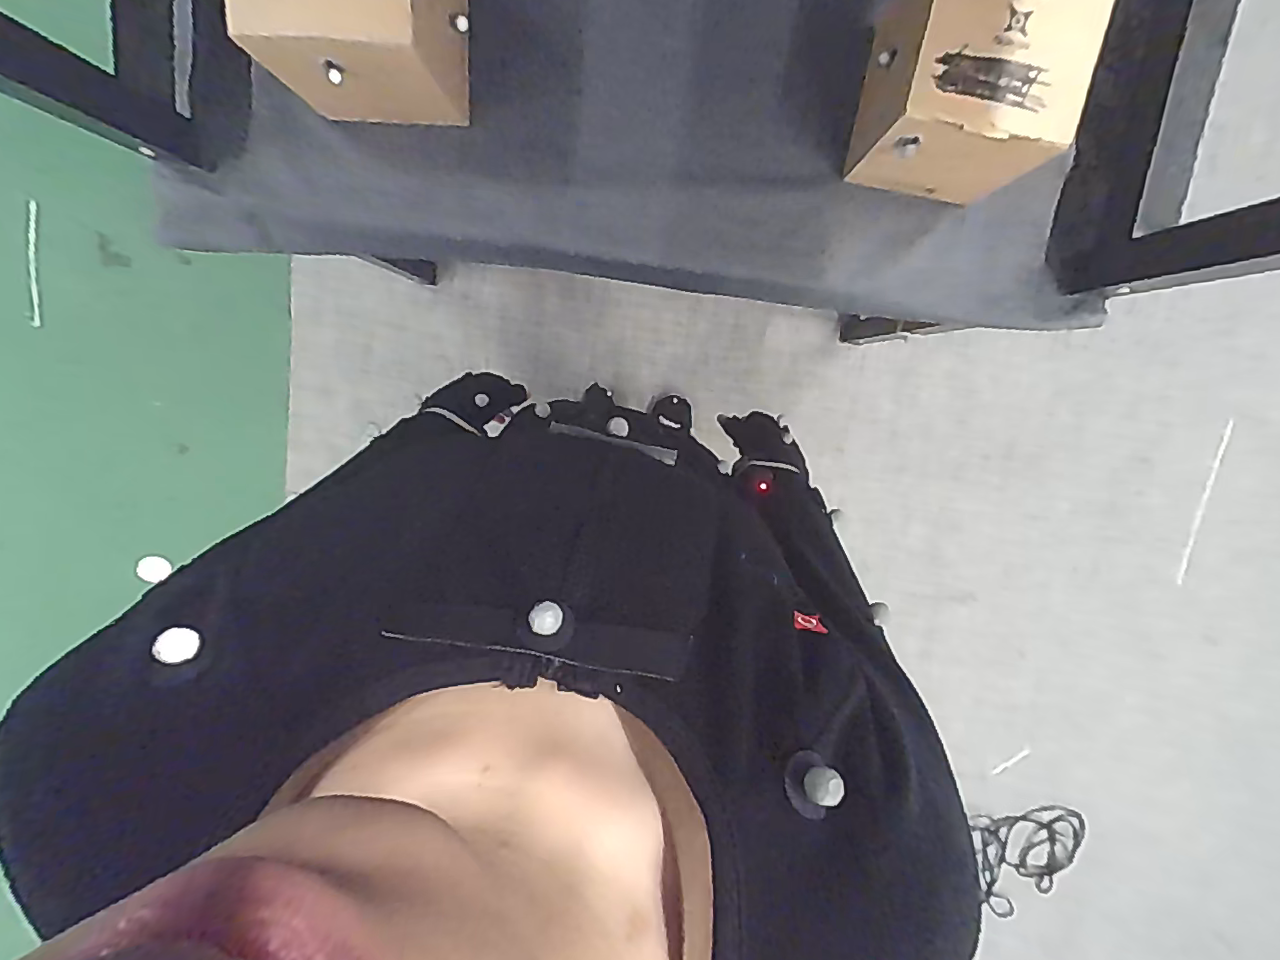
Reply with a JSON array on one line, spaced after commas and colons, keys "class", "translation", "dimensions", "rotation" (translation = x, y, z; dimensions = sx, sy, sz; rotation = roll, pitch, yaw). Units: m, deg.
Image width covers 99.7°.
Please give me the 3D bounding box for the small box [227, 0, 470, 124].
[{"class": "small box", "translation": [-0.293, -0.505, 0.571], "dimensions": [0.179, 0.176, 0.168], "rotation": [3, 101, -1]}]
